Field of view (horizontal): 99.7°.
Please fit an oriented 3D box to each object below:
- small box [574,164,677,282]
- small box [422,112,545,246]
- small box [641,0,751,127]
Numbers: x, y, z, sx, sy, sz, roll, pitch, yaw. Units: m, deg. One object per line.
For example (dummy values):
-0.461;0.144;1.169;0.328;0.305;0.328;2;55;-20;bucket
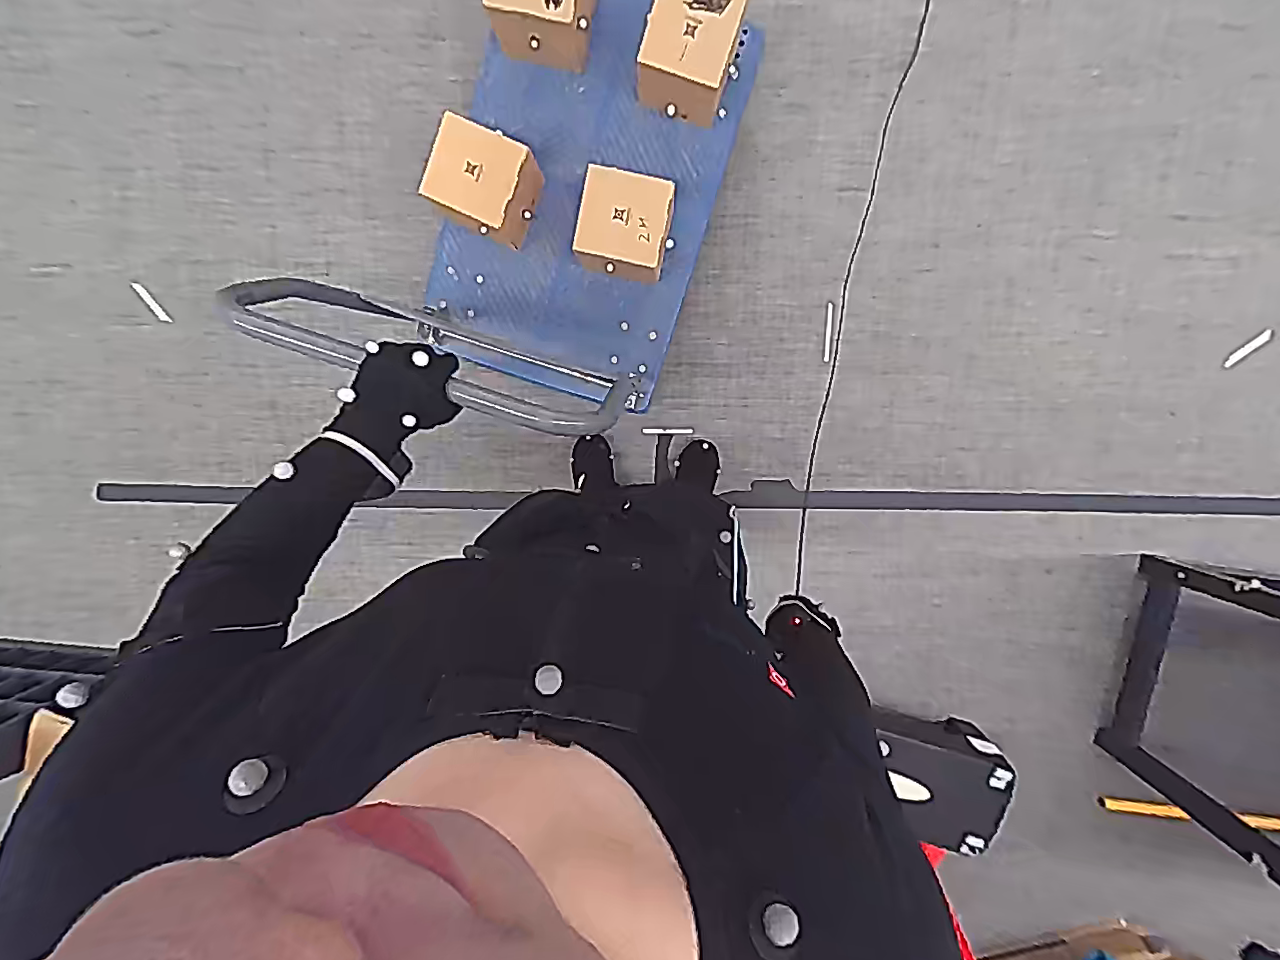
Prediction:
-0.026;-0.530;1.141;0.179;0.176;0.168;13;99;0;small box
-0.321;-0.620;1.139;0.179;0.176;0.168;22;99;-3;small box
0.106;-0.860;1.085;0.168;0.176;0.179;19;100;-1;small box
